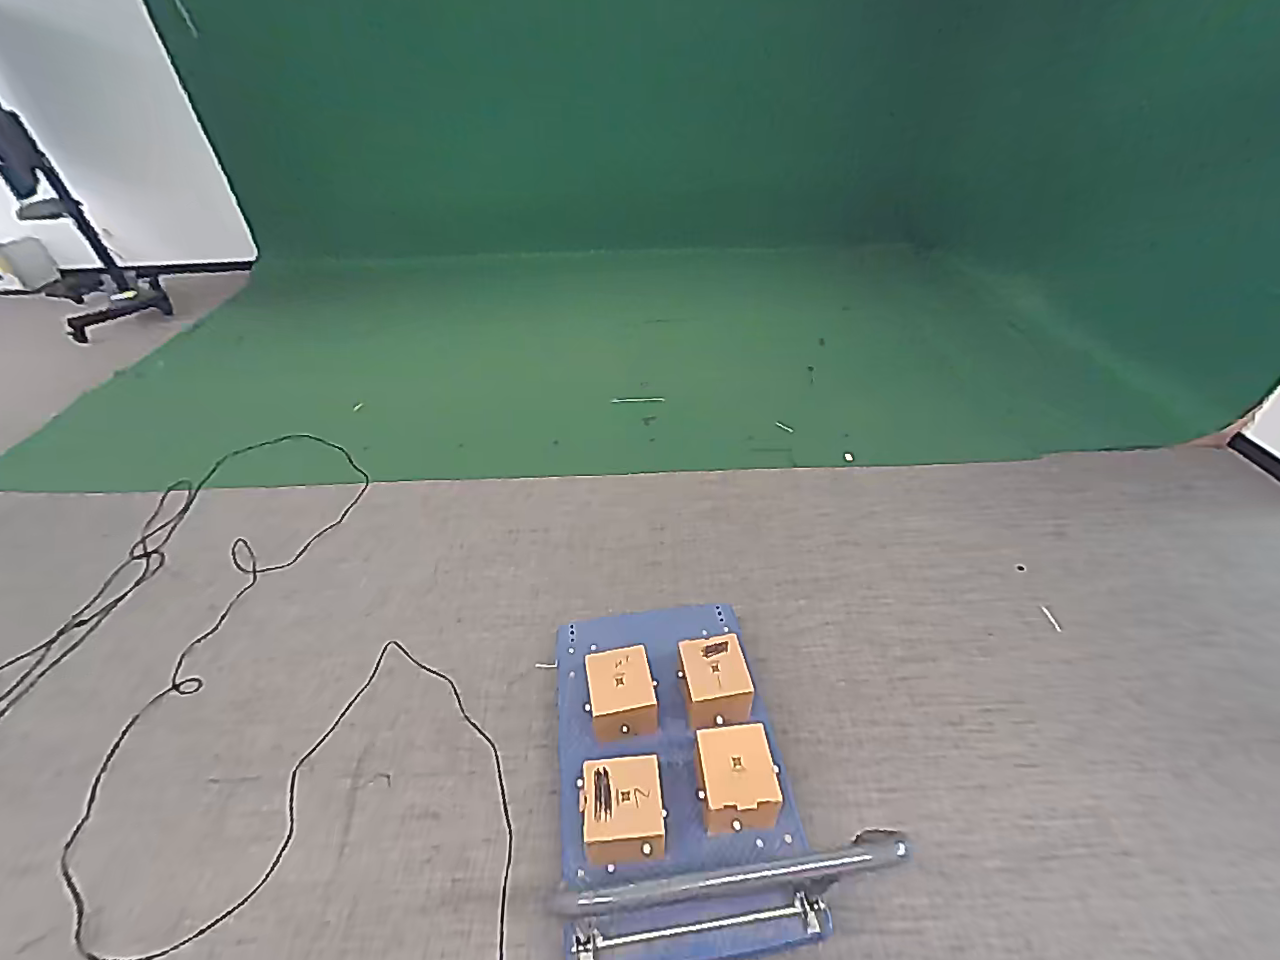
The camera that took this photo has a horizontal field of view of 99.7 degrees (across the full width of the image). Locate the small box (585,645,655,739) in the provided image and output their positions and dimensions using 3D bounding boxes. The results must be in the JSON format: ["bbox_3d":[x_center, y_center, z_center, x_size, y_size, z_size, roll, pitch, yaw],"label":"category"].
[{"bbox_3d":[-0.053,0.578,1.462,0.168,0.176,0.179,-8,41,-8],"label":"small box"}]

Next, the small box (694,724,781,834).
[{"bbox_3d":[0.225,0.717,1.299,0.168,0.176,0.179,-5,40,-3],"label":"small box"}]

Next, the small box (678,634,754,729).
[{"bbox_3d":[0.200,0.552,1.484,0.168,0.176,0.179,-7,42,-5],"label":"small box"}]
